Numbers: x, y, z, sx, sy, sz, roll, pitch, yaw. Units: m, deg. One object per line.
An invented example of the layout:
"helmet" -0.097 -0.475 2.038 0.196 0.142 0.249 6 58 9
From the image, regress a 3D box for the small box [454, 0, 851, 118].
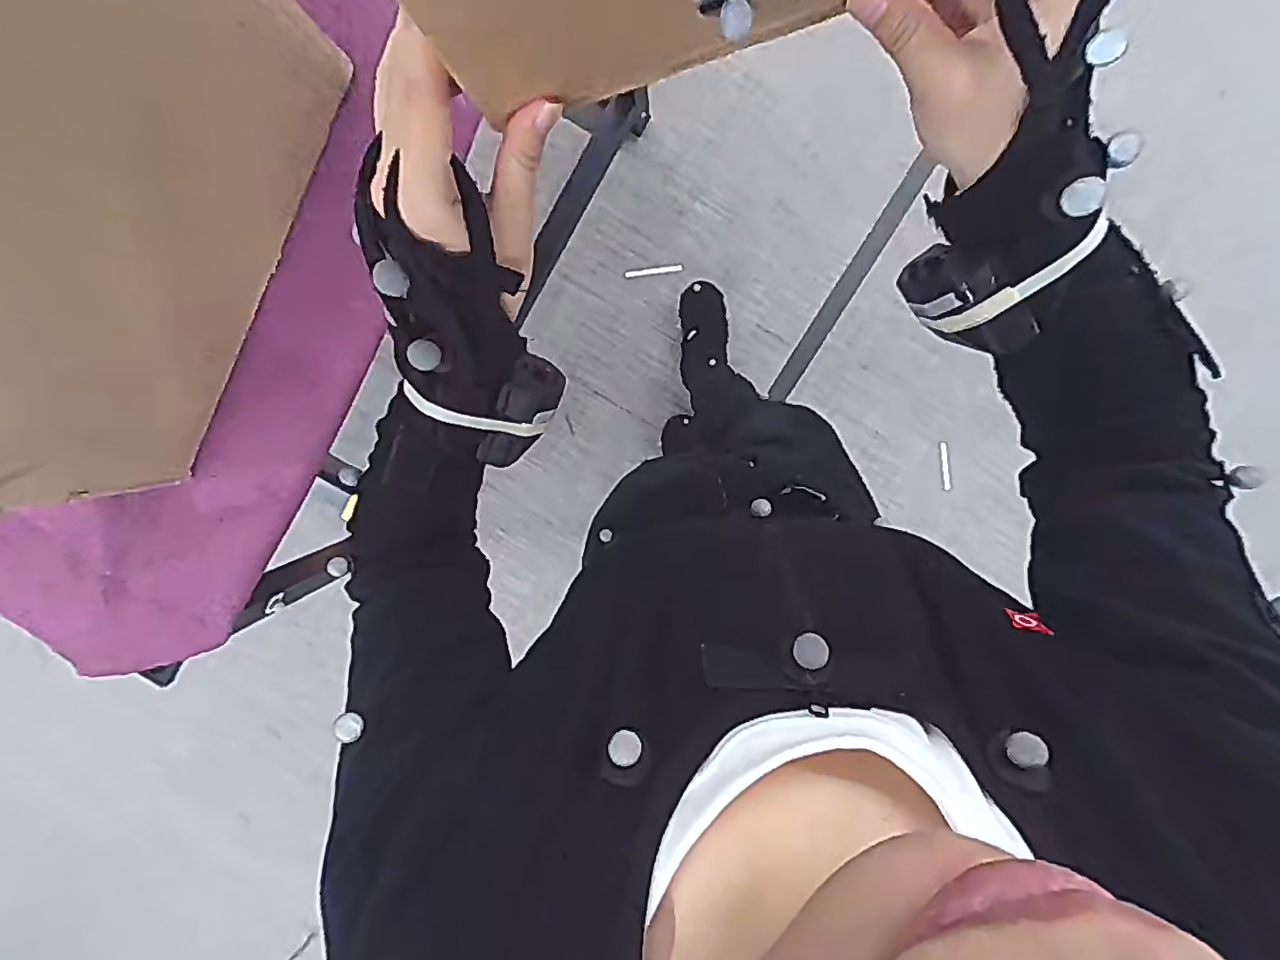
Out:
"small box" 0.001 -0.233 0.129 0.179 0.176 0.168 -16 102 5
